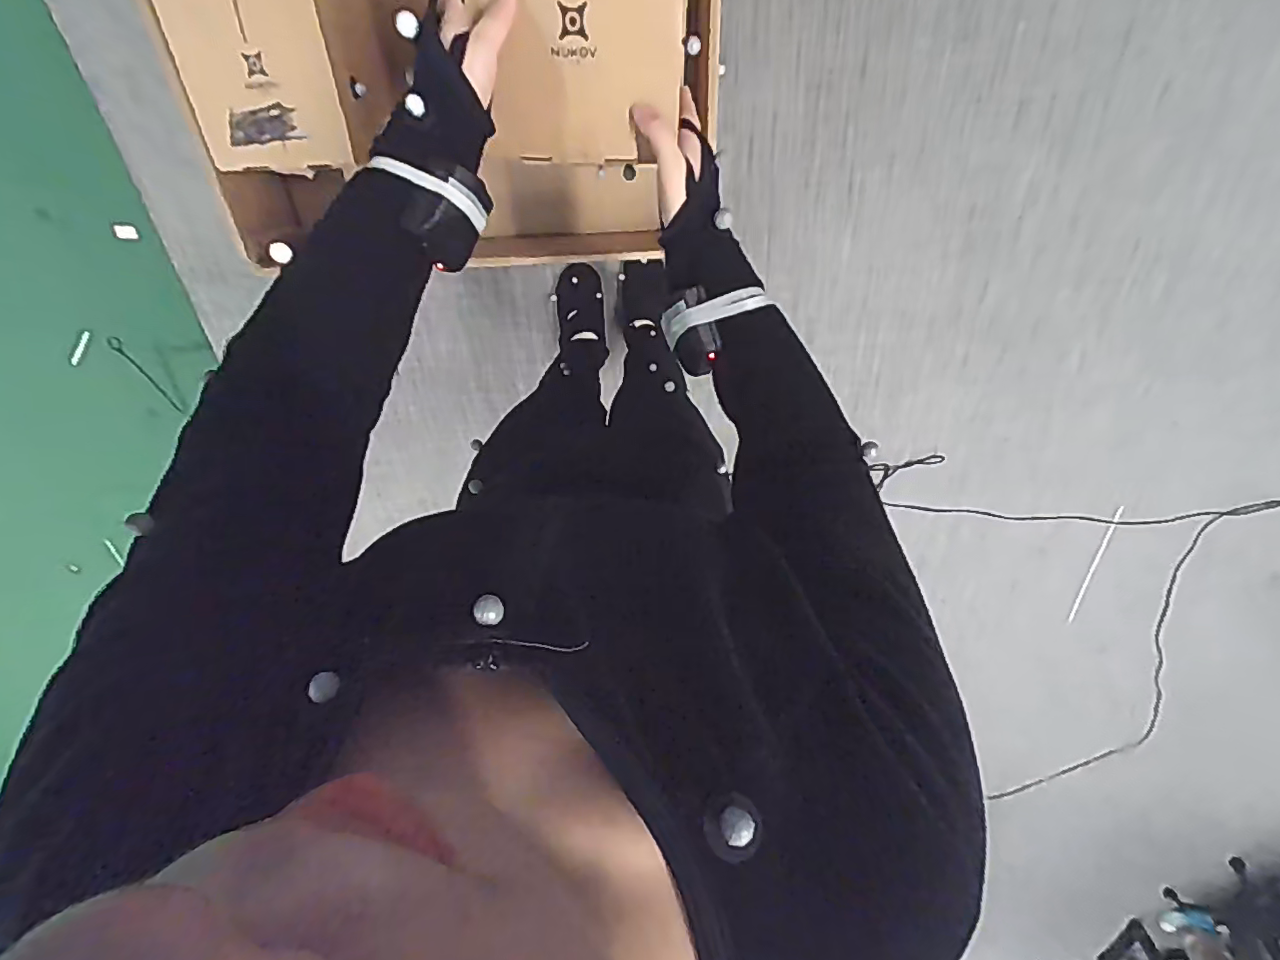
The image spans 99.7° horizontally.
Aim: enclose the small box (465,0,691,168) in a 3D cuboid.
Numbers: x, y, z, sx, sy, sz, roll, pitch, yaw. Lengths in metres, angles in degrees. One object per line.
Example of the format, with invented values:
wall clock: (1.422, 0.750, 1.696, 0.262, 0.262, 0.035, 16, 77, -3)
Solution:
small box: (-0.043, -0.381, 0.475, 0.168, 0.176, 0.179, 4, 121, 3)
